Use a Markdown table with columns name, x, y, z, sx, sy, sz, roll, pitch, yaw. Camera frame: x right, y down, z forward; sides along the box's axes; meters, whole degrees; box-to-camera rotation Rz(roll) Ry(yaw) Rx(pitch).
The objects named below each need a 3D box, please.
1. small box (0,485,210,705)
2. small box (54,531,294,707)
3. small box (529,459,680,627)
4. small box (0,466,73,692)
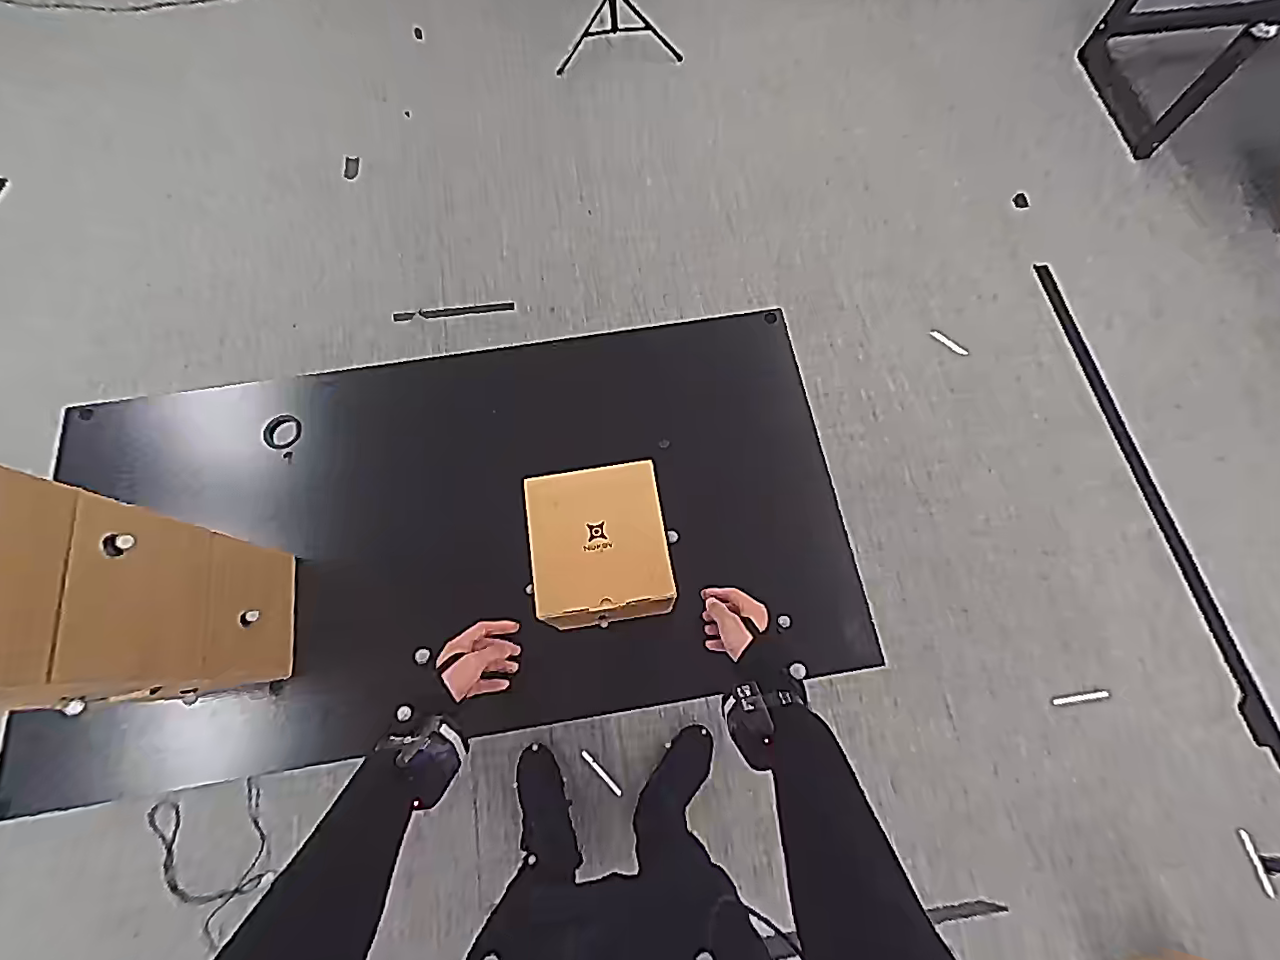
| name | x | y | z | sx | sy | sz | roll | pitch | yaw |
| --- | --- | --- | --- | --- | --- | --- | --- | --- | --- |
| small box | -0.577 | 0.123 | 0.541 | 0.168 | 0.176 | 0.179 | -10 | 71 | -3 |
| small box | -0.576 | 0.178 | 0.696 | 0.168 | 0.176 | 0.179 | -10 | 72 | -4 |
| small box | -0.047 | 0.092 | 0.725 | 0.168 | 0.176 | 0.179 | -9 | 72 | -3 |
| small box | -0.576 | 0.071 | 0.387 | 0.168 | 0.176 | 0.179 | -10 | 72 | -2 |
